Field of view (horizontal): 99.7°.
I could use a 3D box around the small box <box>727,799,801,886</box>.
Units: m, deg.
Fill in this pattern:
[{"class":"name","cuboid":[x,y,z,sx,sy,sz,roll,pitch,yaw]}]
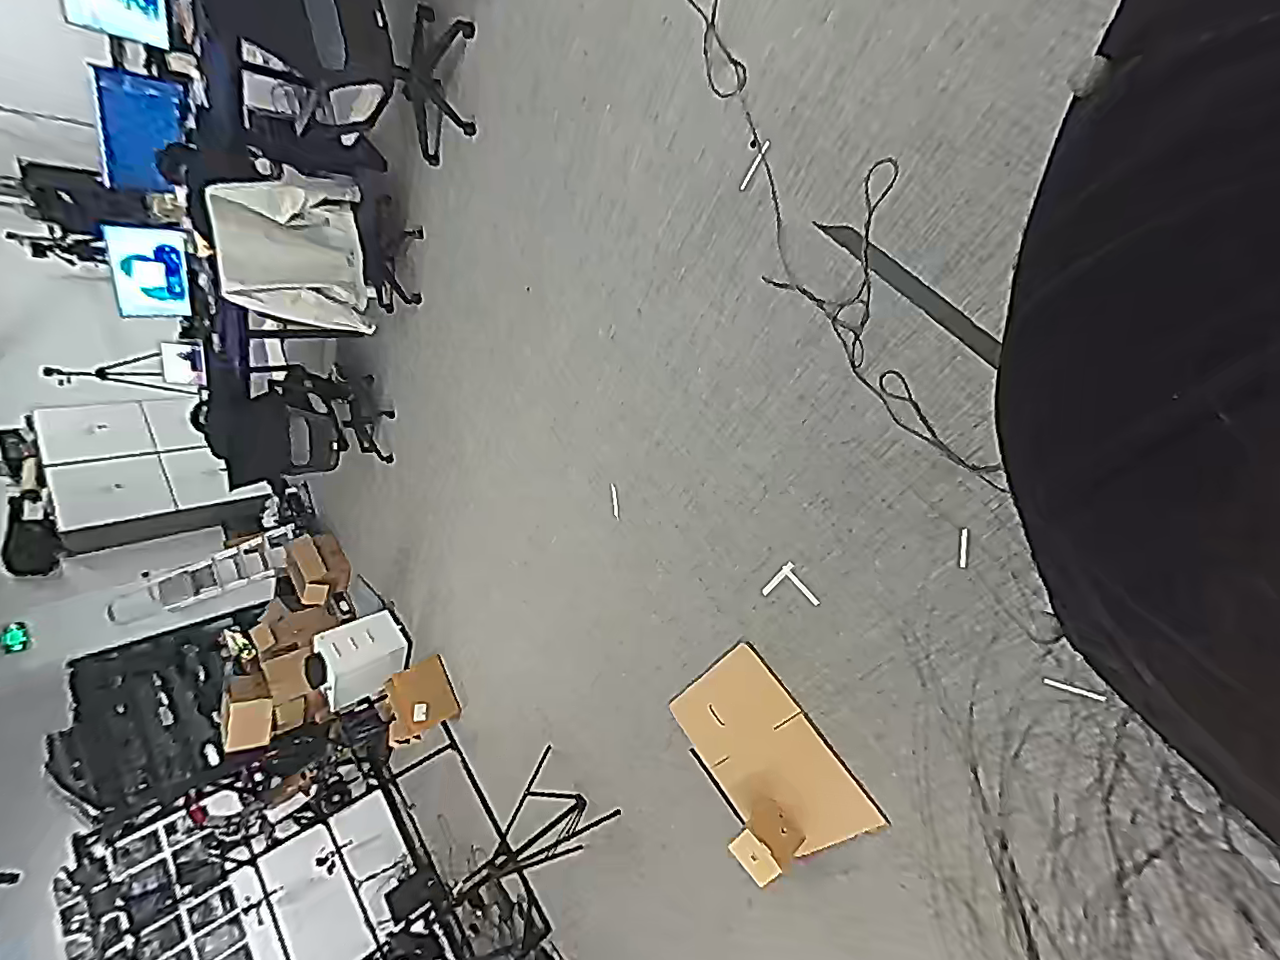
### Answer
[{"class":"small box","cuboid":[0.454,1.312,1.963,0.168,0.176,0.179,42,128,27]}]
